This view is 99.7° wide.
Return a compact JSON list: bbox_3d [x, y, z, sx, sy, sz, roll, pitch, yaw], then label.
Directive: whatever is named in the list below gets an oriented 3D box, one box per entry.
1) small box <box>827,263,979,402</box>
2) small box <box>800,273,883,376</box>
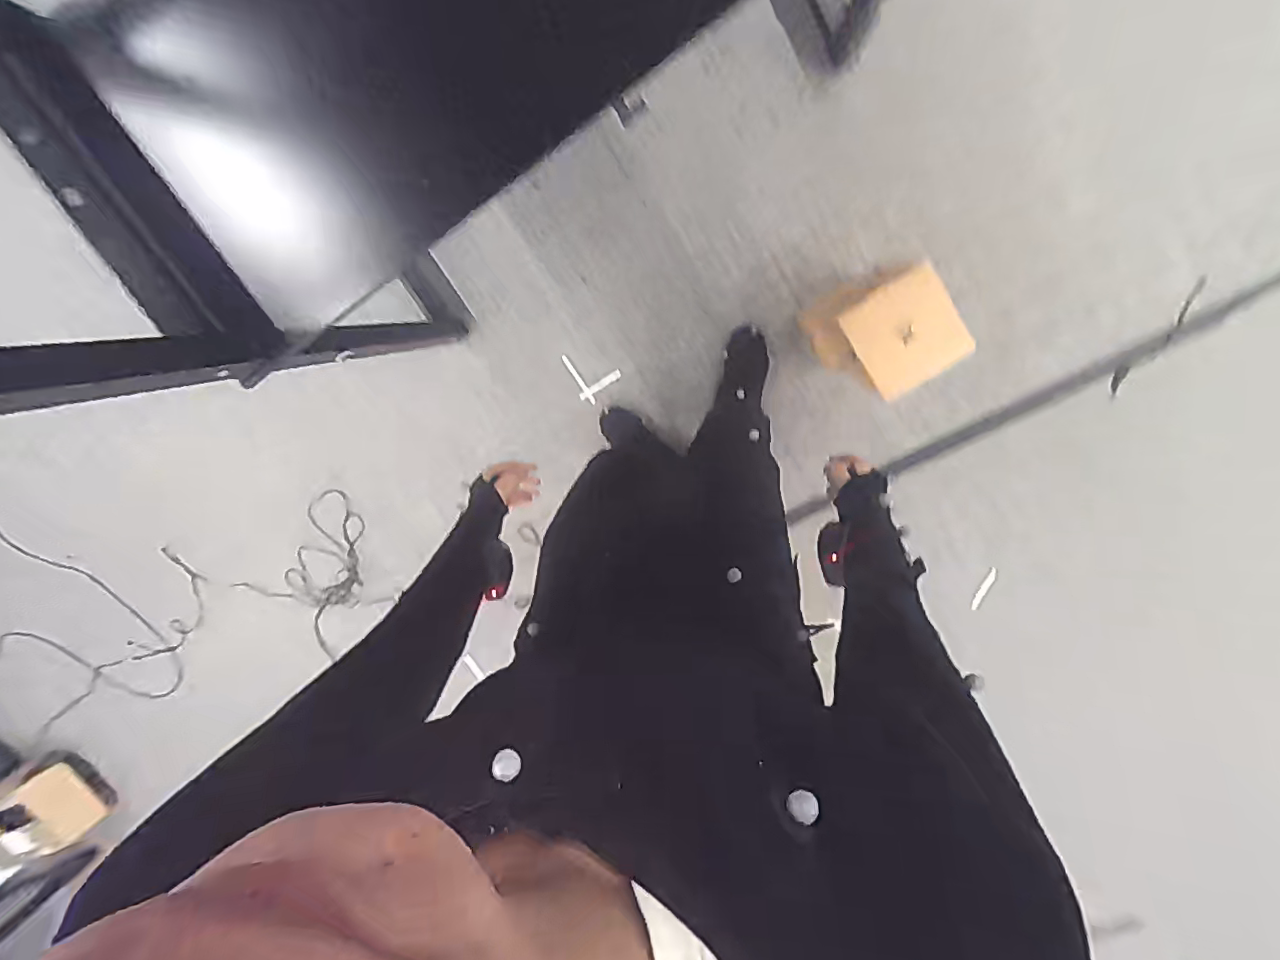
[{"bbox_3d":[0.467,-0.270,0.984,0.168,0.176,0.179,-33,100,17],"label":"small box"},{"bbox_3d":[0.506,-0.373,1.293,0.179,0.176,0.168,-31,101,17],"label":"small box"}]
